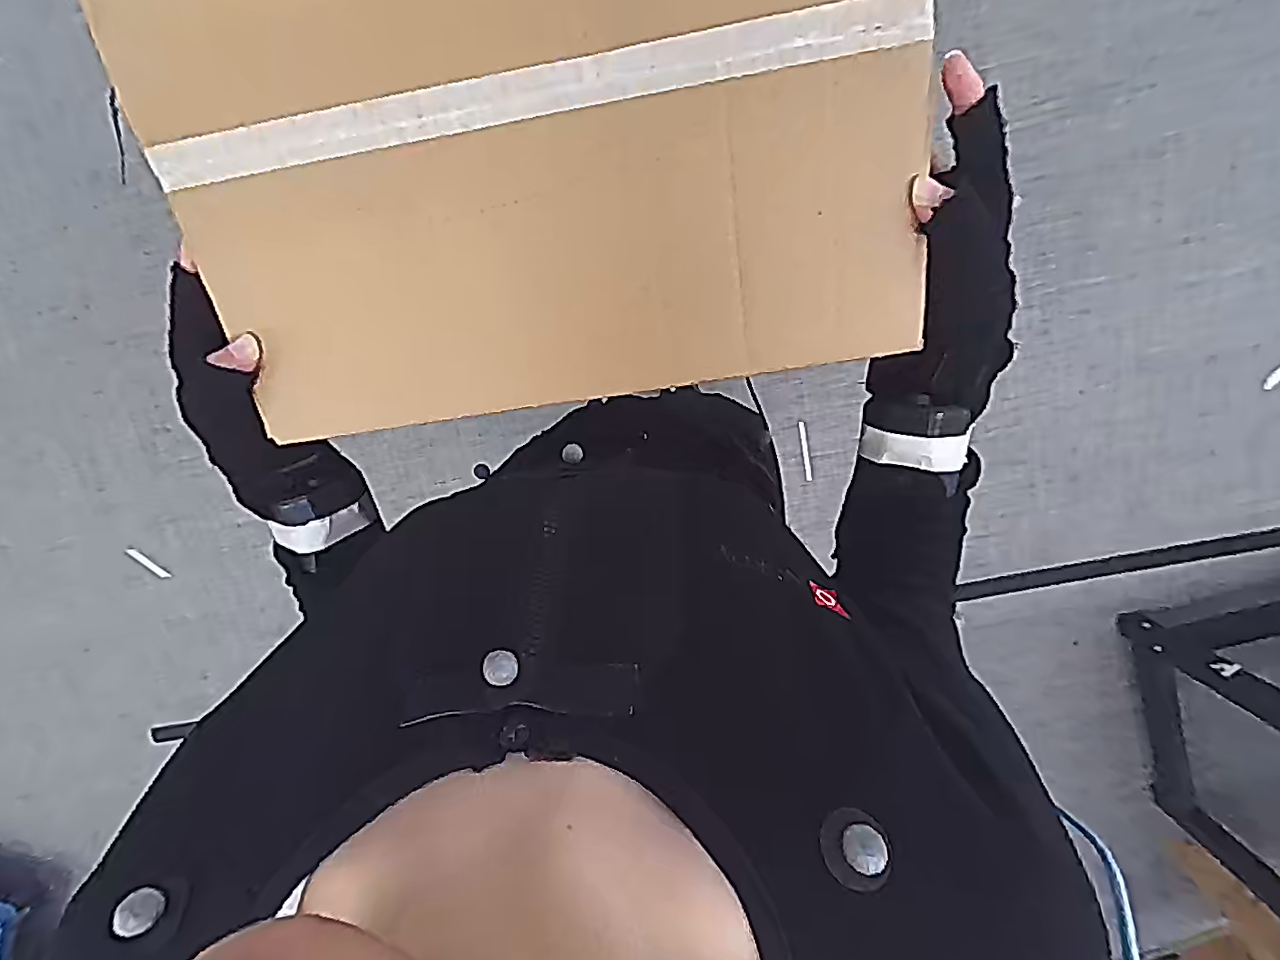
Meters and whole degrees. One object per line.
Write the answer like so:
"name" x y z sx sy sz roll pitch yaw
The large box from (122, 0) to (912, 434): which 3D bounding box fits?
"large box" -0.055 -0.252 0.428 0.408 0.320 0.320 -8 112 5
